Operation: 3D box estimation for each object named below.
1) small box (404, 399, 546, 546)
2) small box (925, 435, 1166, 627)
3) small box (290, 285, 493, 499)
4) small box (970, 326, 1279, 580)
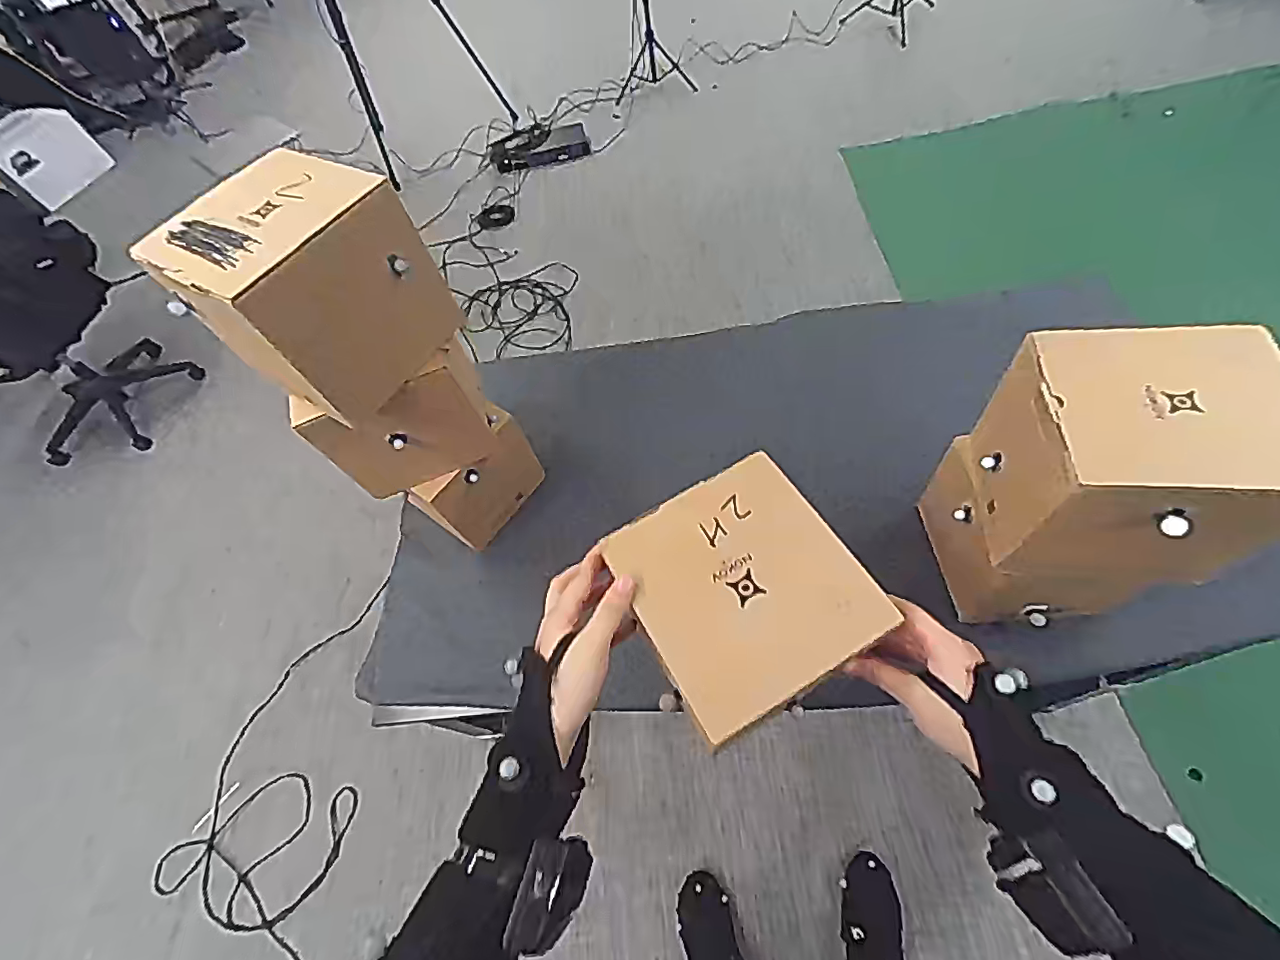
[{"bbox_3d":[-0.277,-0.025,0.830,0.179,0.176,0.168,29,69,25],"label":"small box"},{"bbox_3d":[0.461,0.056,0.634,0.168,0.176,0.179,-8,57,7],"label":"small box"},{"bbox_3d":[-0.303,-0.105,0.689,0.179,0.176,0.168,-24,58,-3],"label":"small box"},{"bbox_3d":[0.433,-0.018,0.491,0.179,0.176,0.168,1,58,14],"label":"small box"}]
